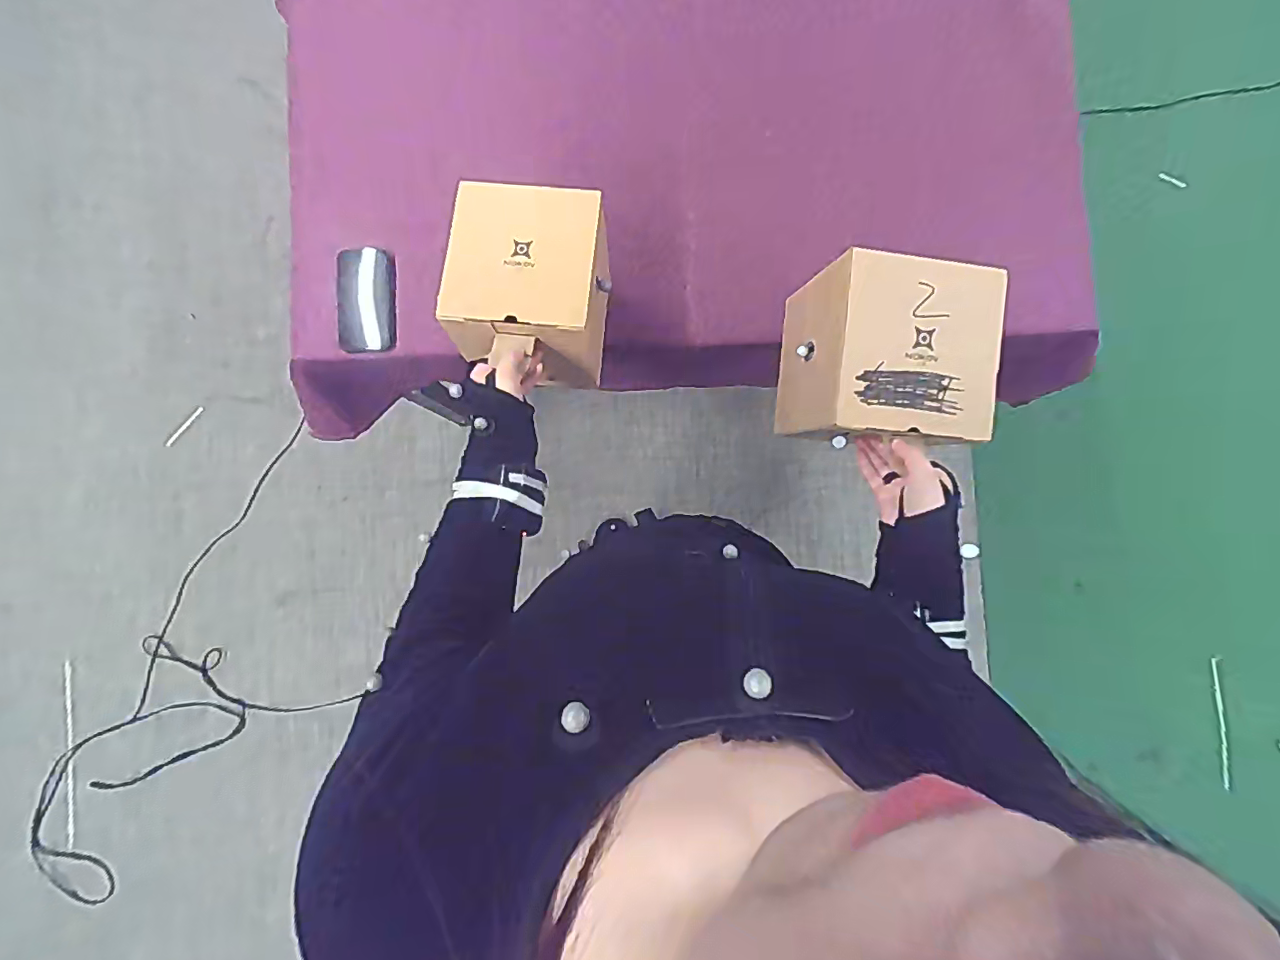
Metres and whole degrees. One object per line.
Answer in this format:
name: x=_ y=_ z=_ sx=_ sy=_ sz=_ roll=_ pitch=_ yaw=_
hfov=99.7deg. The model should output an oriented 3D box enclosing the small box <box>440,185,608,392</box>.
small box: x=-0.130 y=-0.229 z=0.680 sx=0.168 sy=0.176 sz=0.179 roll=5 pitch=78 yaw=0
